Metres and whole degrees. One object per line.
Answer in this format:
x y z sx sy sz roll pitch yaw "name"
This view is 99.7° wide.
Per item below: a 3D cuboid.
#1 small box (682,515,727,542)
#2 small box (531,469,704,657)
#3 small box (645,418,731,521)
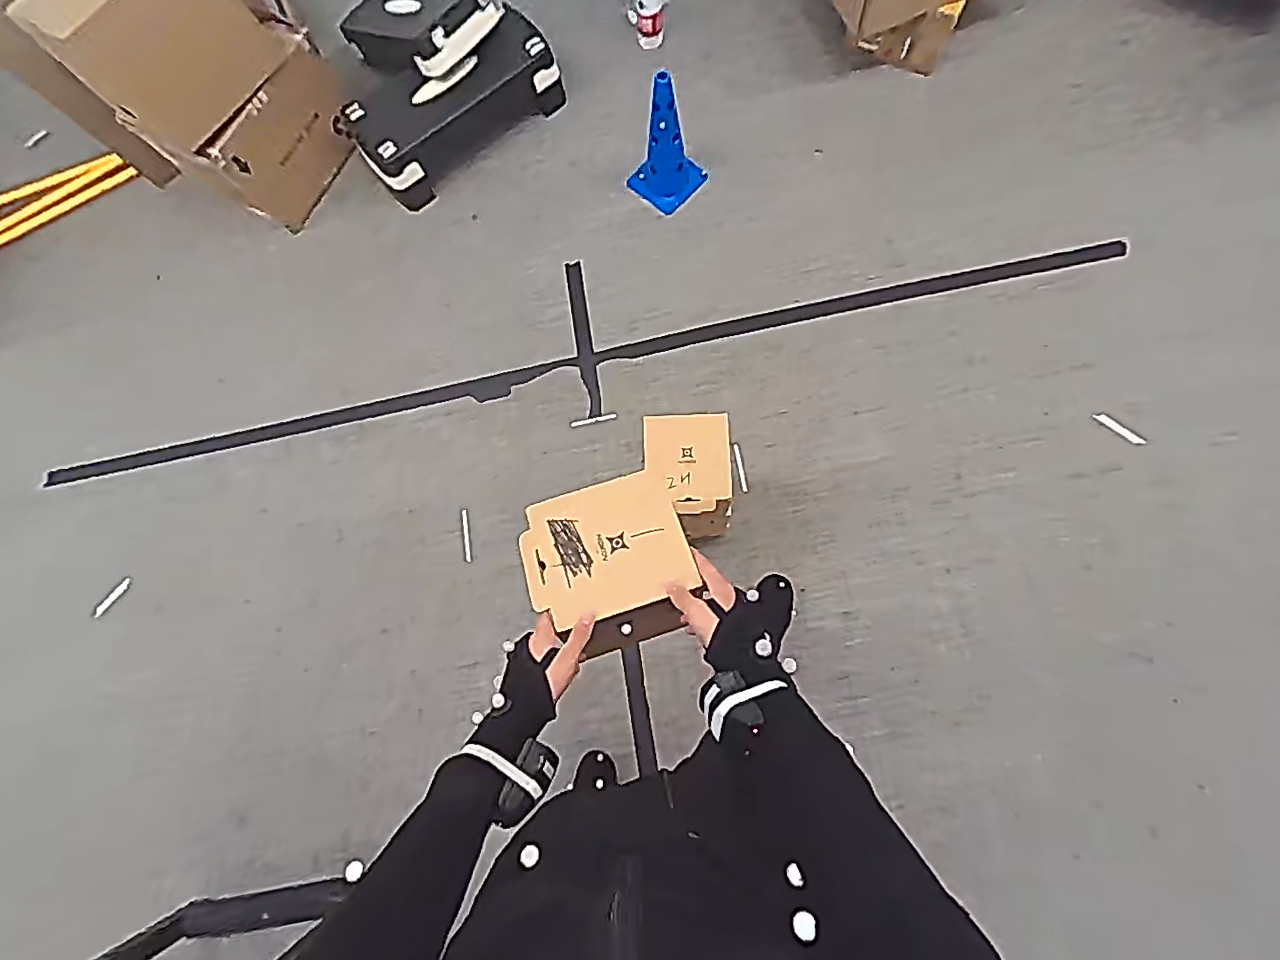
0.136 0.072 1.427 0.168 0.176 0.179 -7 76 3 "small box"
-0.025 0.116 0.706 0.179 0.176 0.168 -17 62 -5 "small box"
0.095 -0.016 1.111 0.168 0.176 0.179 -1 76 4 "small box"
